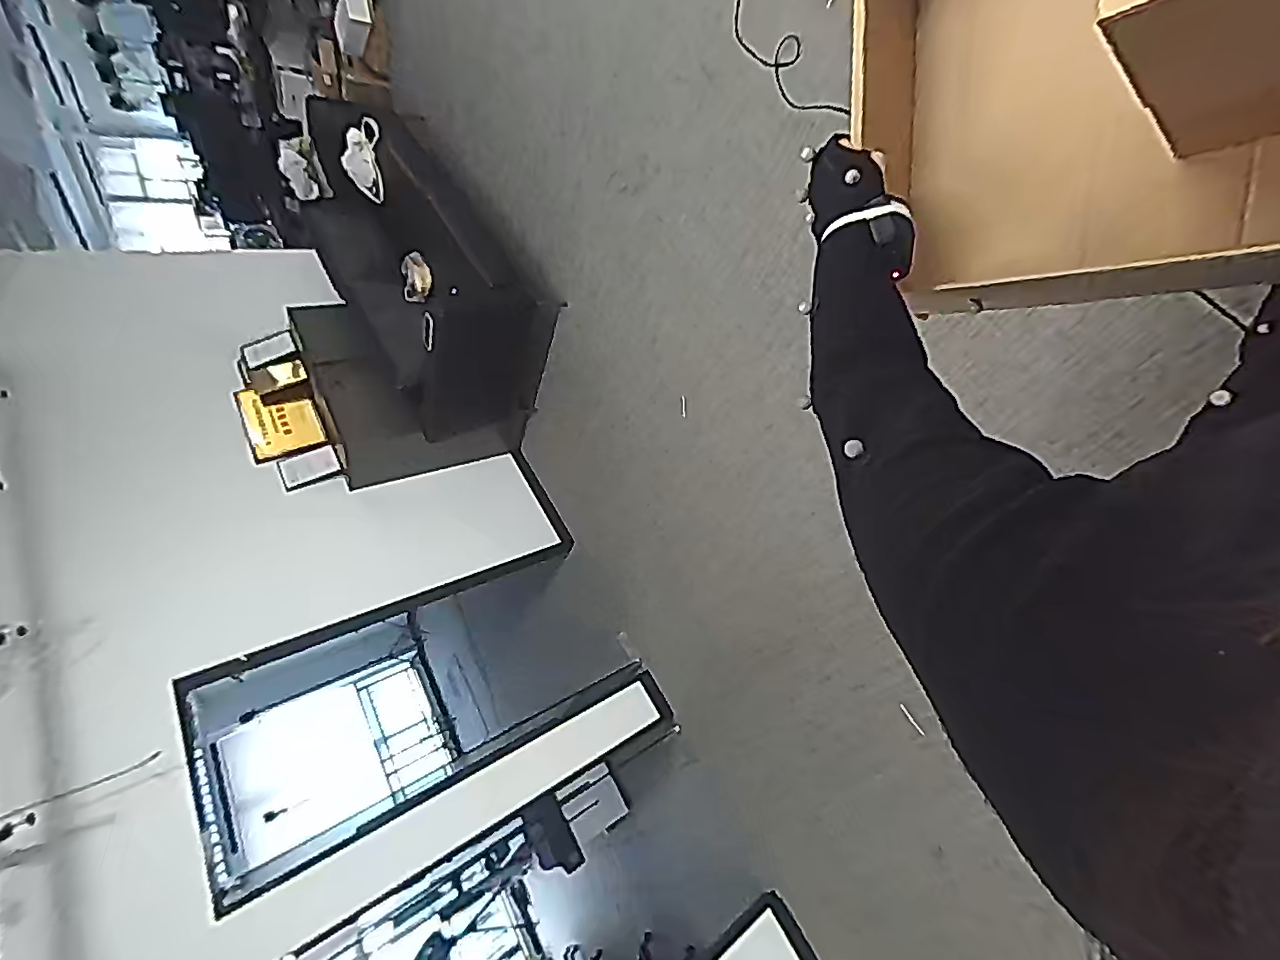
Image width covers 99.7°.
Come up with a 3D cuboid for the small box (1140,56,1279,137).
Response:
[{"bbox_3d":[0.475,-0.361,0.363,0.179,0.176,0.168,10,108,47],"label":"small box"}]

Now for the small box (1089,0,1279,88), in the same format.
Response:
[{"bbox_3d":[0.353,-0.329,0.258,0.179,0.176,0.168,11,109,48],"label":"small box"}]
